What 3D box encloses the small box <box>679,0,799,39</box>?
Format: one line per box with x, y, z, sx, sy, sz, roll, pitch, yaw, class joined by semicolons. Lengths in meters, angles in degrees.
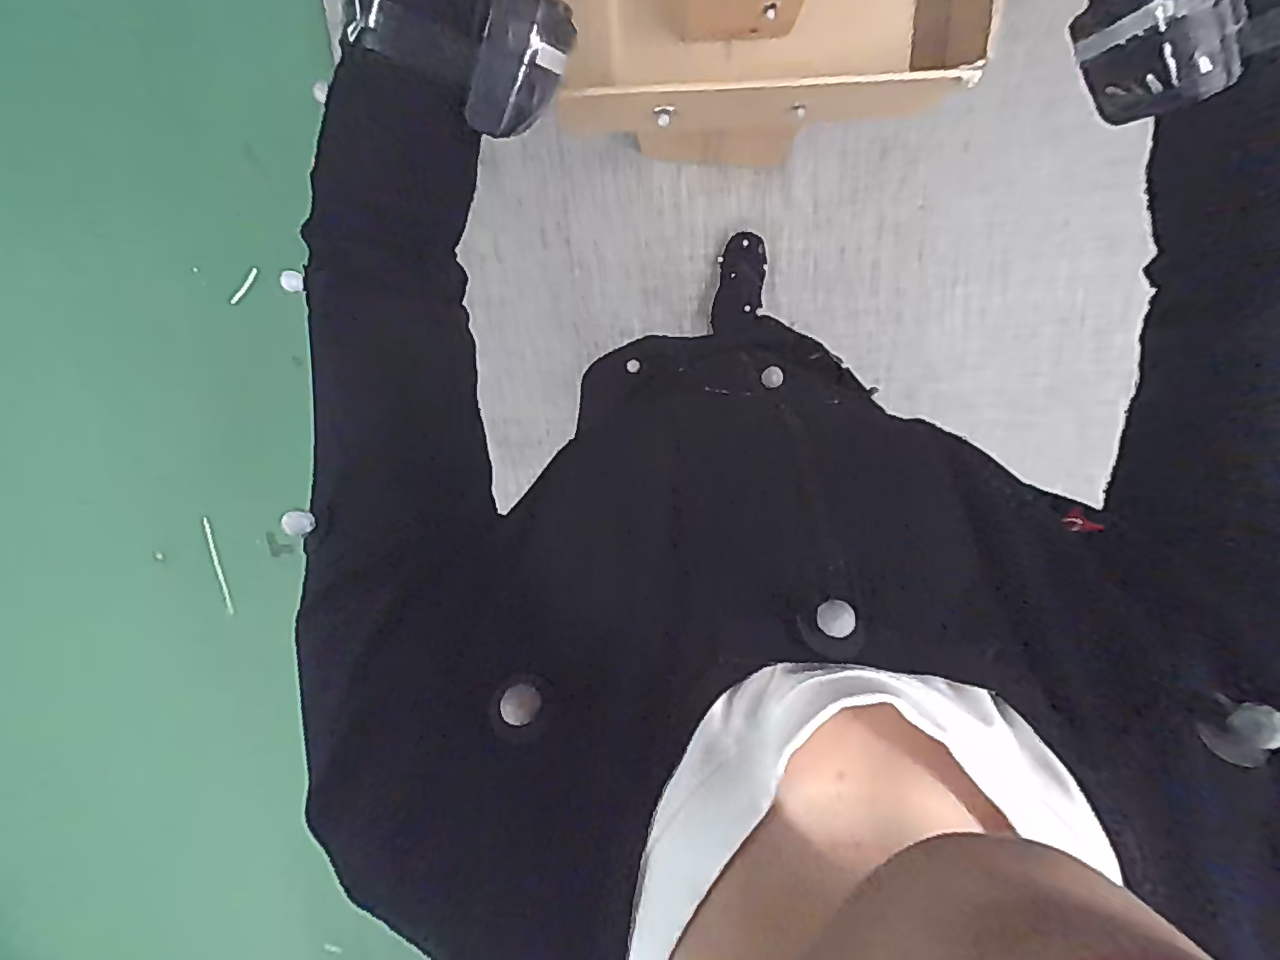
0.139;-0.737;0.734;0.168;0.176;0.179;-2;105;2;small box
